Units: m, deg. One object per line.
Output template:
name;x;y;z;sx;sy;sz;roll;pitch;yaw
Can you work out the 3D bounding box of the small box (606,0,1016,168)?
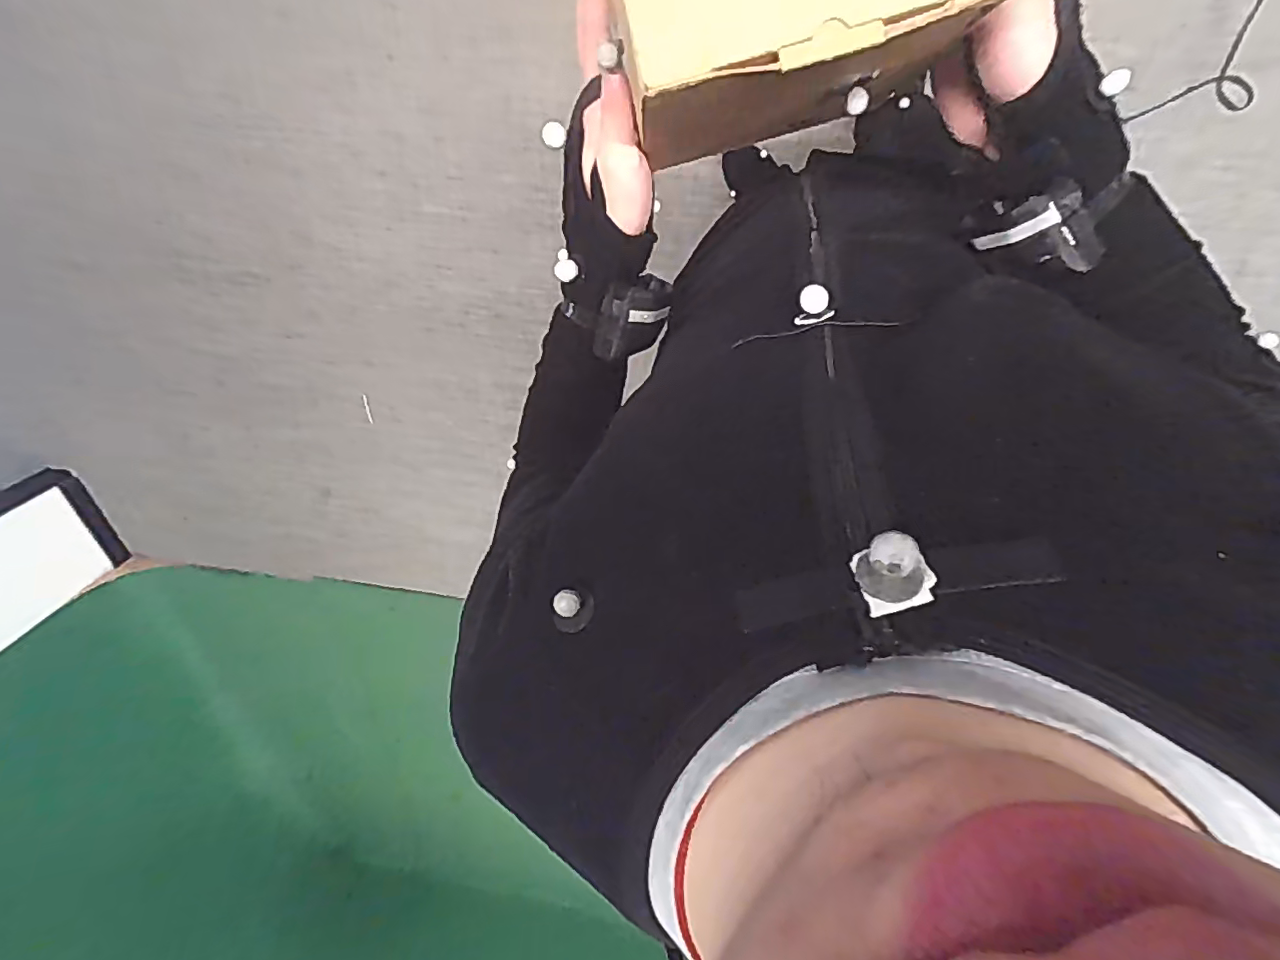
small box;0.063;-0.286;0.284;0.168;0.176;0.179;-13;107;4
